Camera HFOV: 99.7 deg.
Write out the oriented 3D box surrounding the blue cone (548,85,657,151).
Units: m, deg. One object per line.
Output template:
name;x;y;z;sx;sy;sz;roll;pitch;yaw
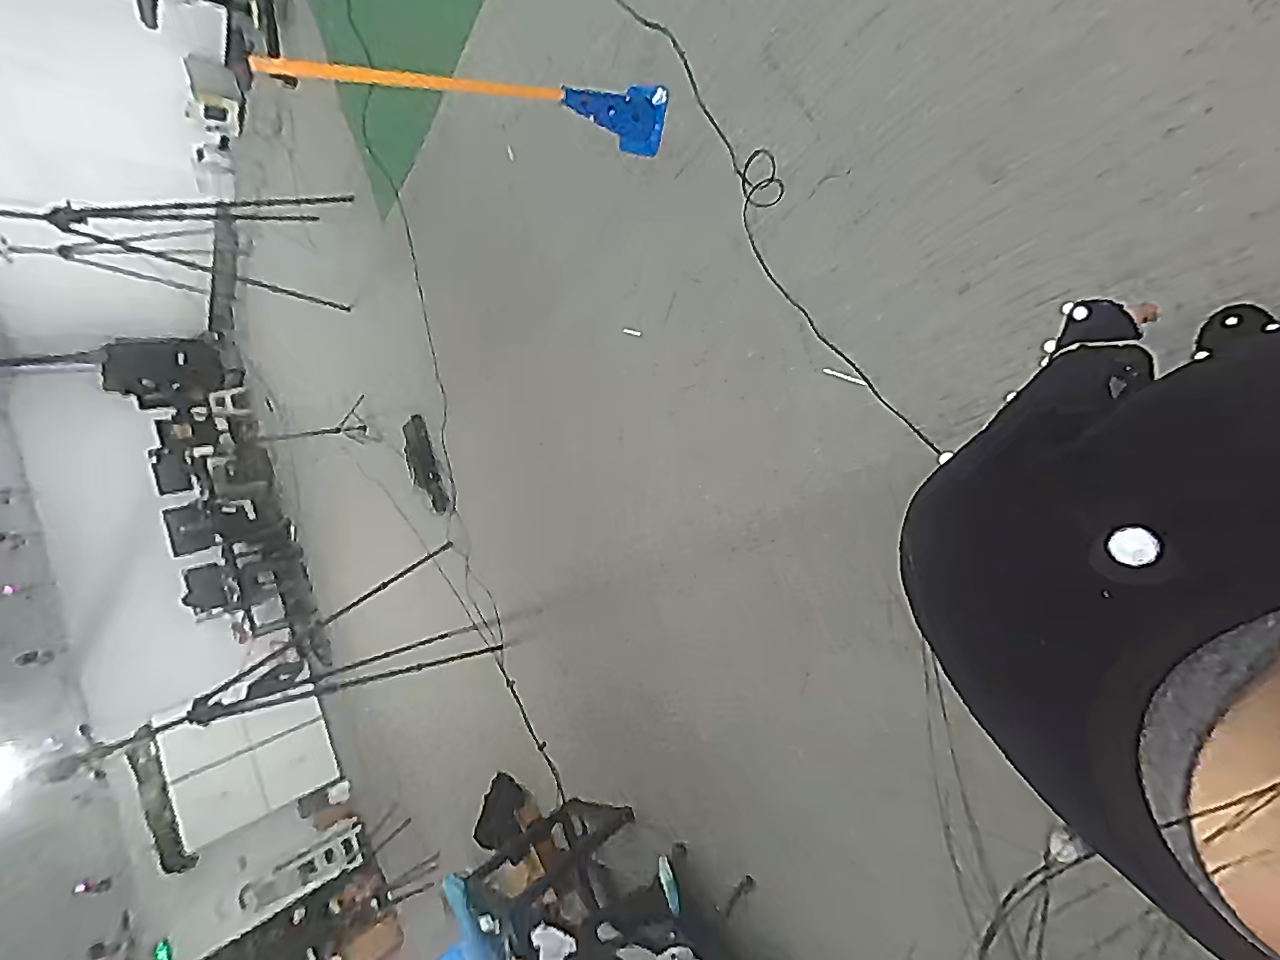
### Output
blue cone;-0.131;-1.204;1.747;0.192;0.380;0.193;31;124;34
